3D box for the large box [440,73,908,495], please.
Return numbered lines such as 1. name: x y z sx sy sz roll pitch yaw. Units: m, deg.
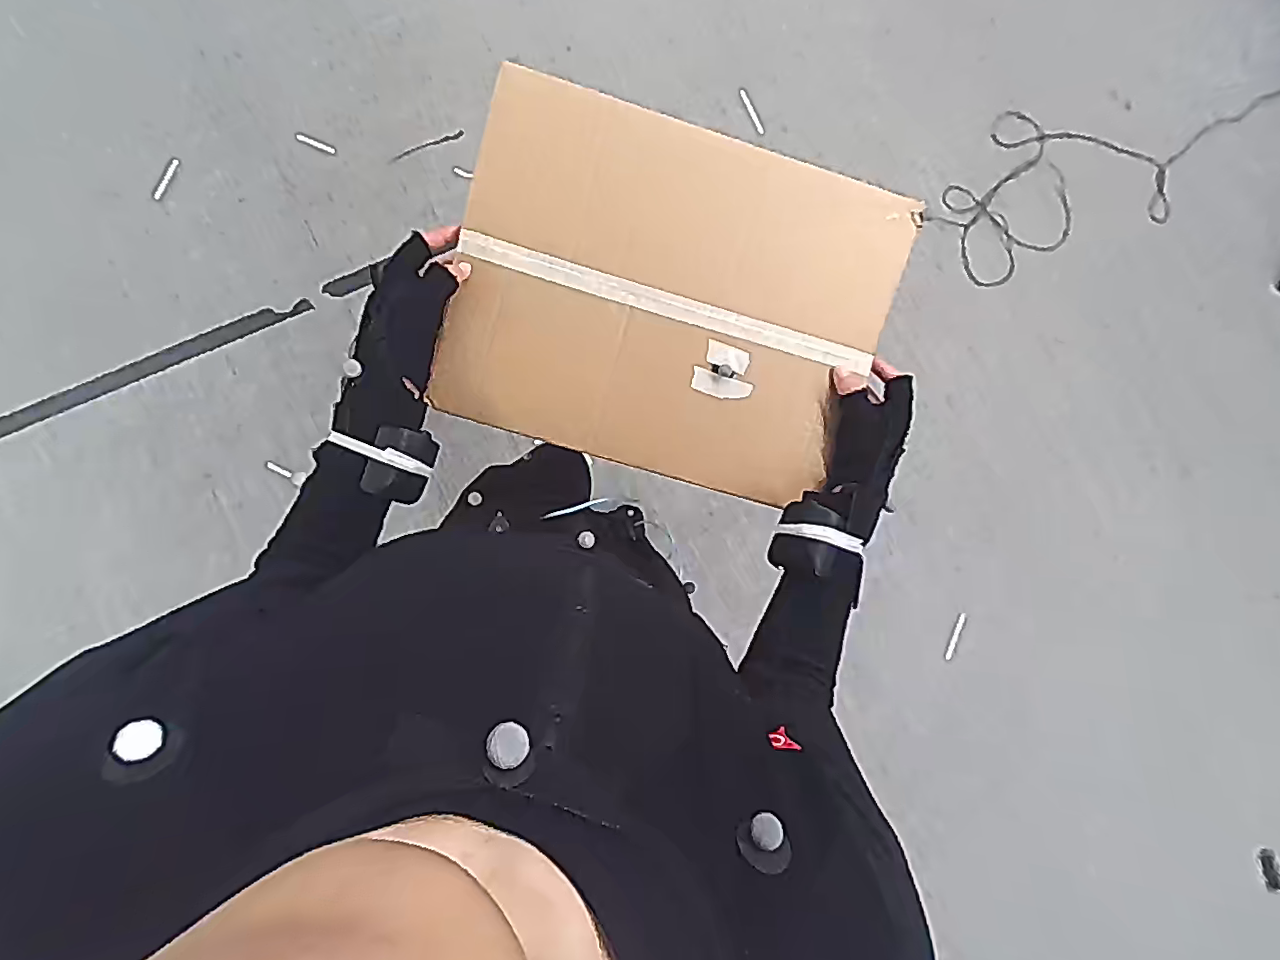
1. large box: 0.023 -0.200 0.674 0.408 0.320 0.320 16 99 -5
